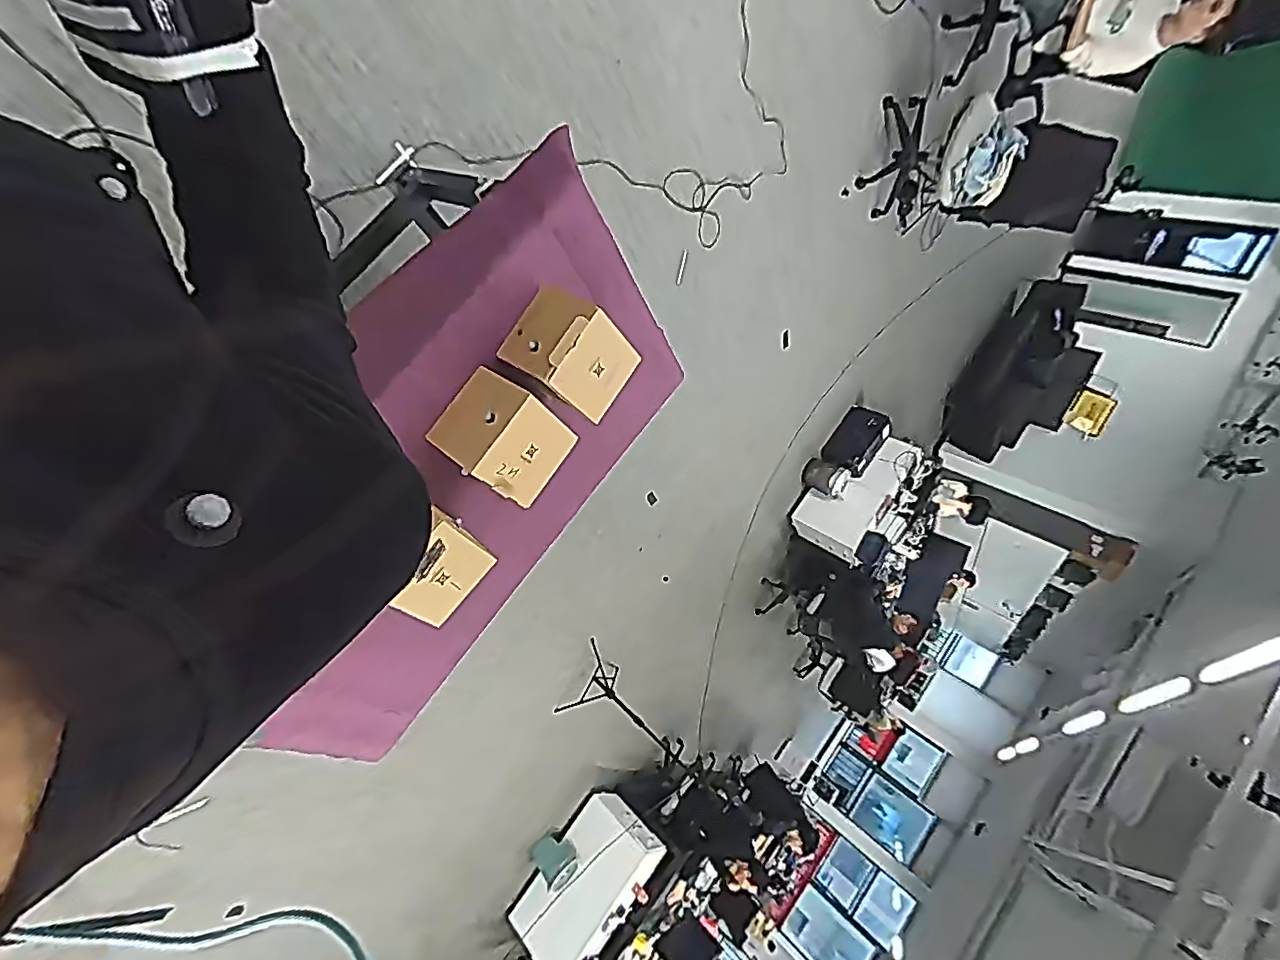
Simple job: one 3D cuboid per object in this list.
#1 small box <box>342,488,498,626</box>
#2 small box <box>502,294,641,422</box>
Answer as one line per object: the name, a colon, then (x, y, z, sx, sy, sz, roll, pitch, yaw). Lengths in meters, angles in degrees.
small box: (-0.410, 0.137, 1.009, 0.168, 0.176, 0.179, -50, 145, -12)
small box: (-0.136, -0.245, 1.066, 0.168, 0.176, 0.179, -56, 145, -3)
